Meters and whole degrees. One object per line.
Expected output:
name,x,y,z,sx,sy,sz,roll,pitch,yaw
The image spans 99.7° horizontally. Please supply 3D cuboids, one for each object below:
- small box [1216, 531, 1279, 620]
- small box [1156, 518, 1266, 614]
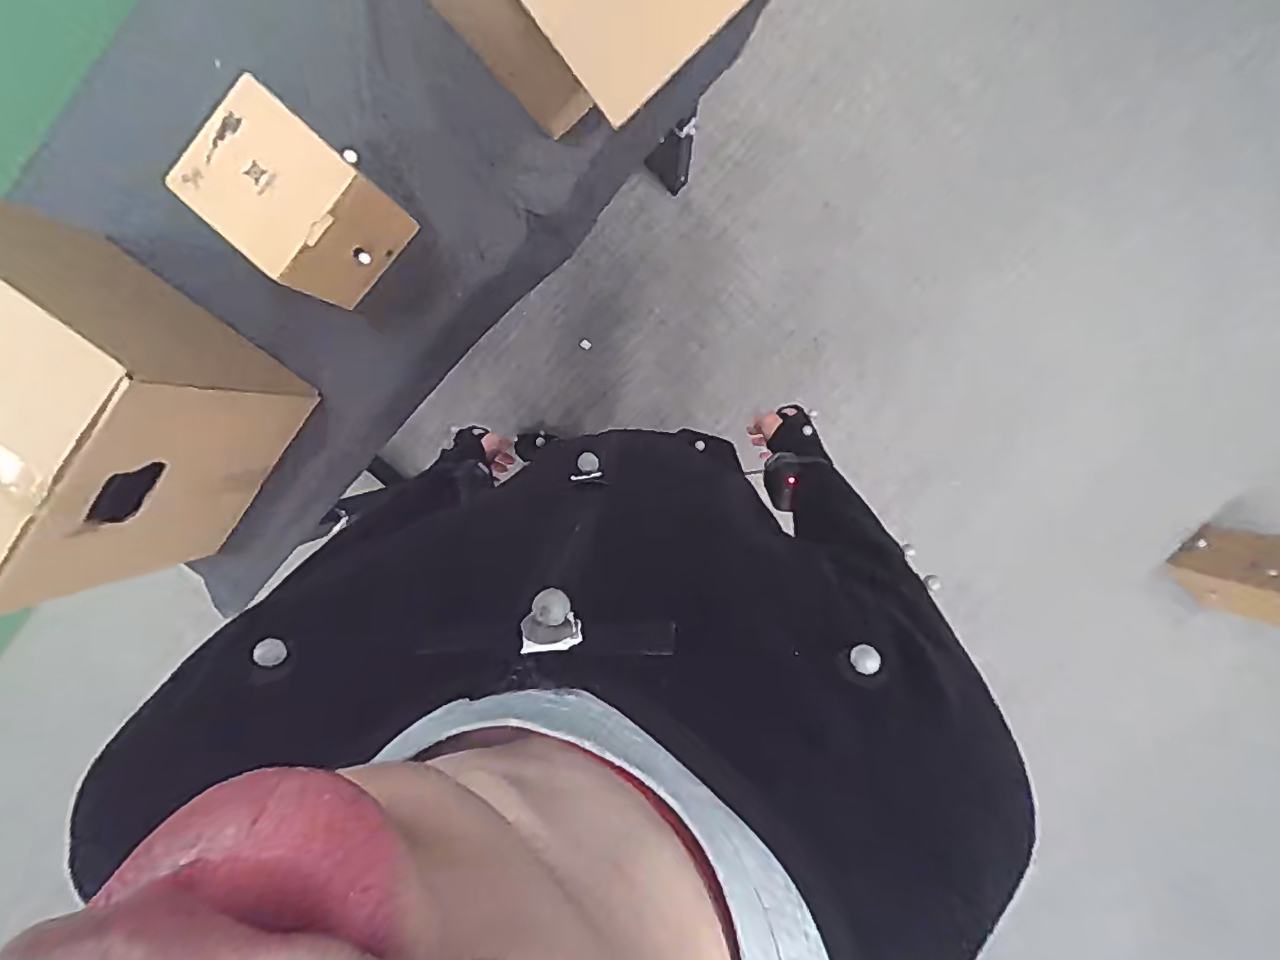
small box,1.590,0.243,1.314,0.179,0.176,0.168,43,97,-6
small box,1.596,0.226,1.475,0.179,0.176,0.168,42,96,-3
